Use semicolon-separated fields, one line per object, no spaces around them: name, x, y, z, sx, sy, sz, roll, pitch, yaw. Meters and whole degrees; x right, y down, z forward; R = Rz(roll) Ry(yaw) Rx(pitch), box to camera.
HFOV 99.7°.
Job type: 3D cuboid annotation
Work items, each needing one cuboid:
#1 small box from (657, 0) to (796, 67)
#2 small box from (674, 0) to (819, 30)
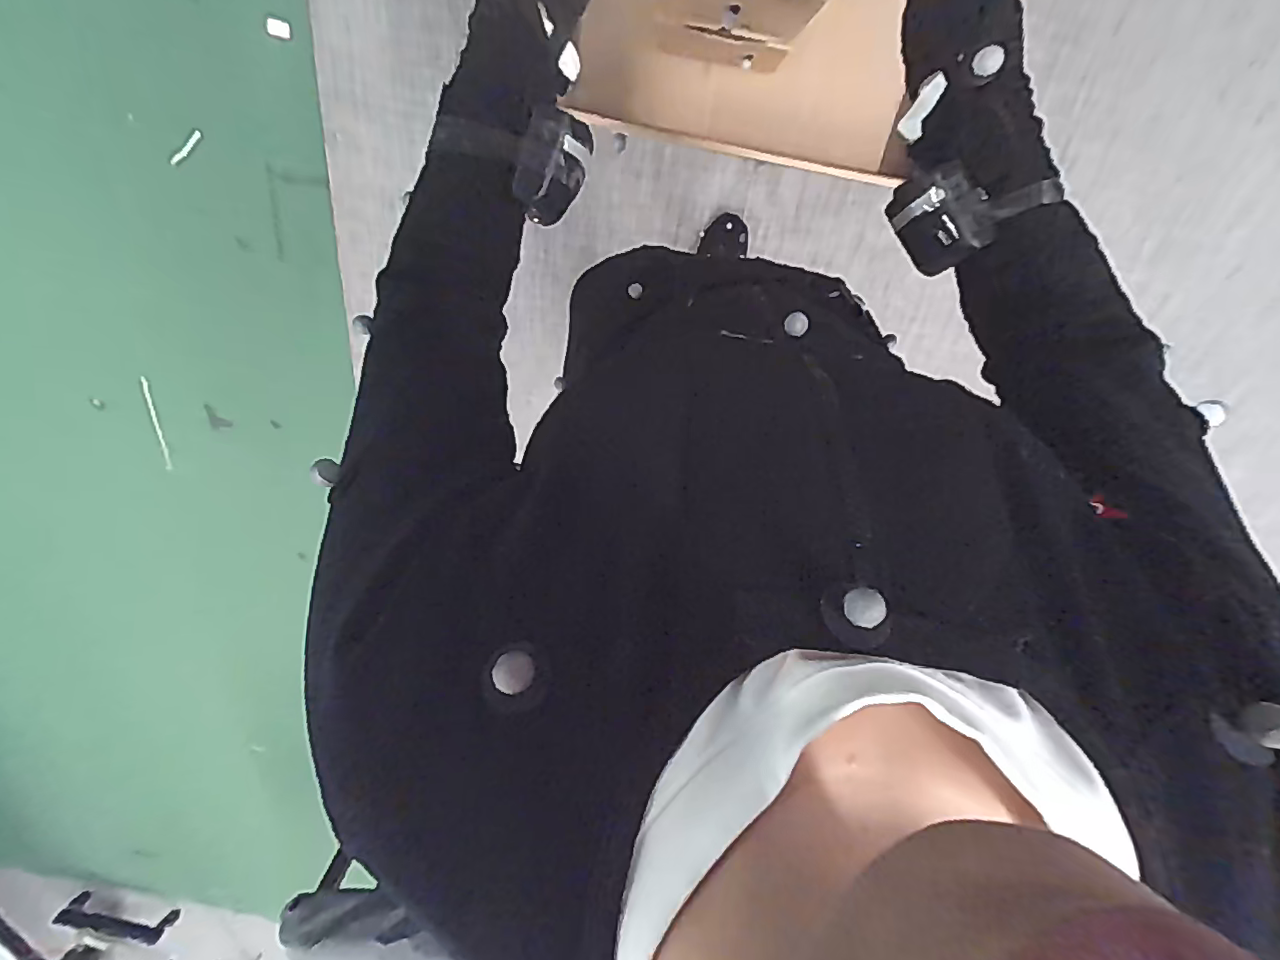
small box;0.119;-0.633;0.658;0.168;0.176;0.179;10;118;-2
small box;0.111;-0.561;0.510;0.168;0.176;0.179;10;120;-2
